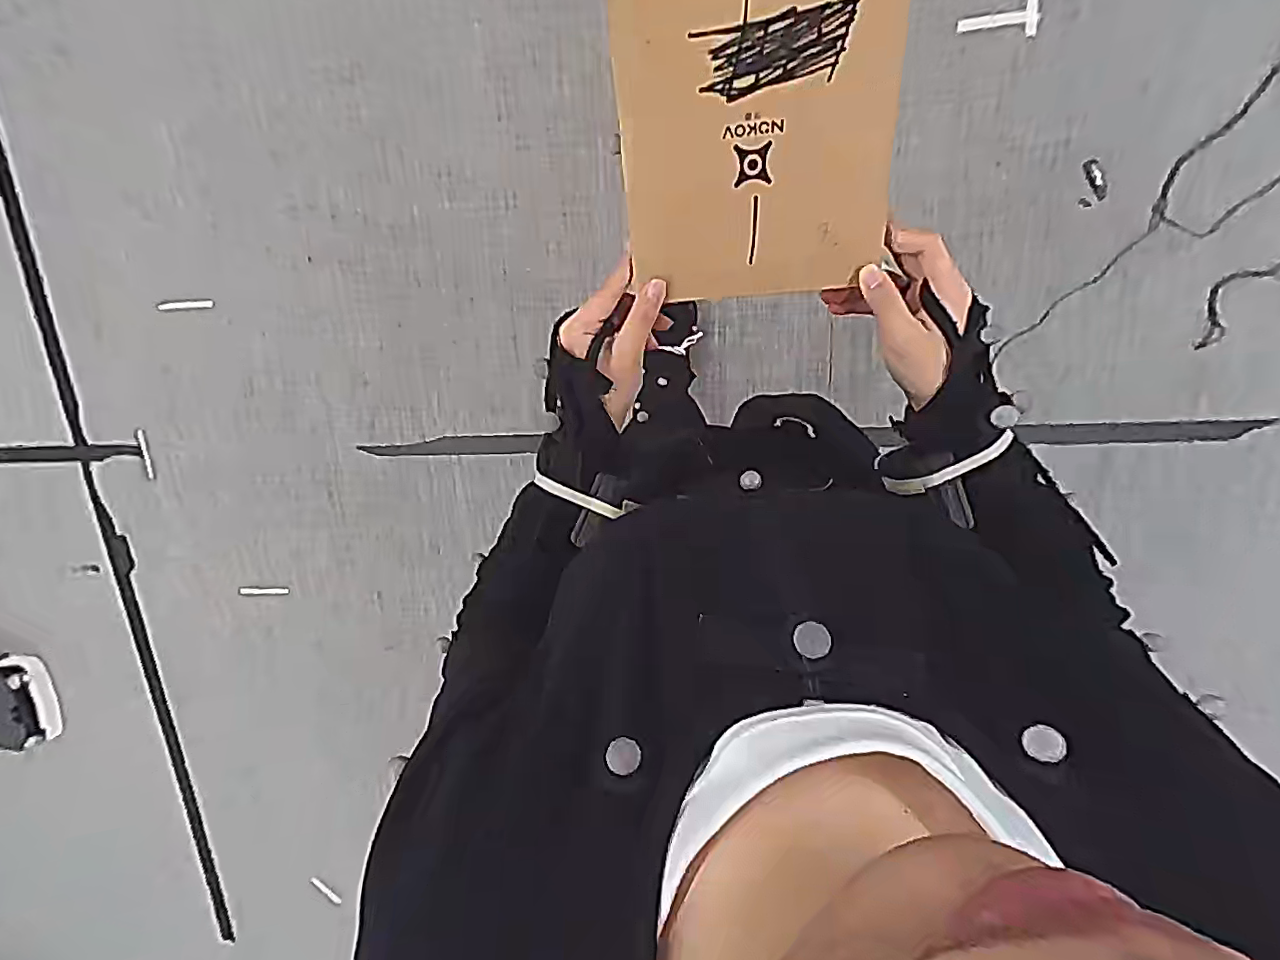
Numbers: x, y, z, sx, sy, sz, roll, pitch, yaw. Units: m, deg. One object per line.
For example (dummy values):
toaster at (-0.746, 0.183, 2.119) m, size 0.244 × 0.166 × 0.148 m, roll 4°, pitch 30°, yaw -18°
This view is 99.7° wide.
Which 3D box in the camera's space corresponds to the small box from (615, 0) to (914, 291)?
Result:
small box at (0.078, -0.247, 0.395) m, size 0.168 × 0.176 × 0.179 m, roll -2°, pitch 119°, yaw 7°
